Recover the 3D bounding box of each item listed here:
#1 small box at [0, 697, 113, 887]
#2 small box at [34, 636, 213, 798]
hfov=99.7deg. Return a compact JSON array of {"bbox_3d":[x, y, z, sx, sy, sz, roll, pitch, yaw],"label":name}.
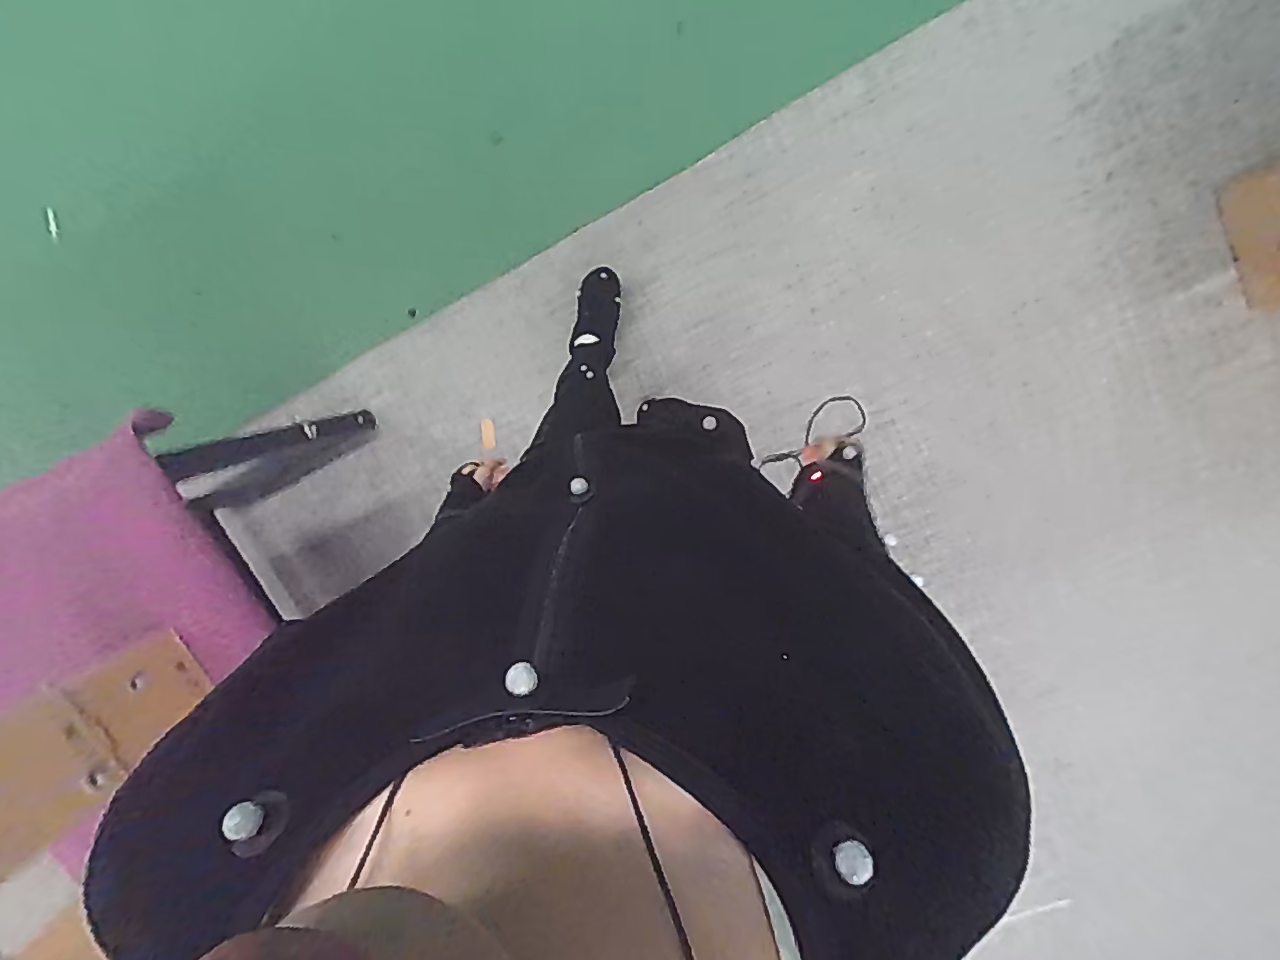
[{"bbox_3d":[-0.814,0.399,0.659,0.179,0.176,0.168,-25,100,11],"label":"small box"},{"bbox_3d":[-0.804,0.365,0.819,0.179,0.176,0.168,-24,100,10],"label":"small box"}]
